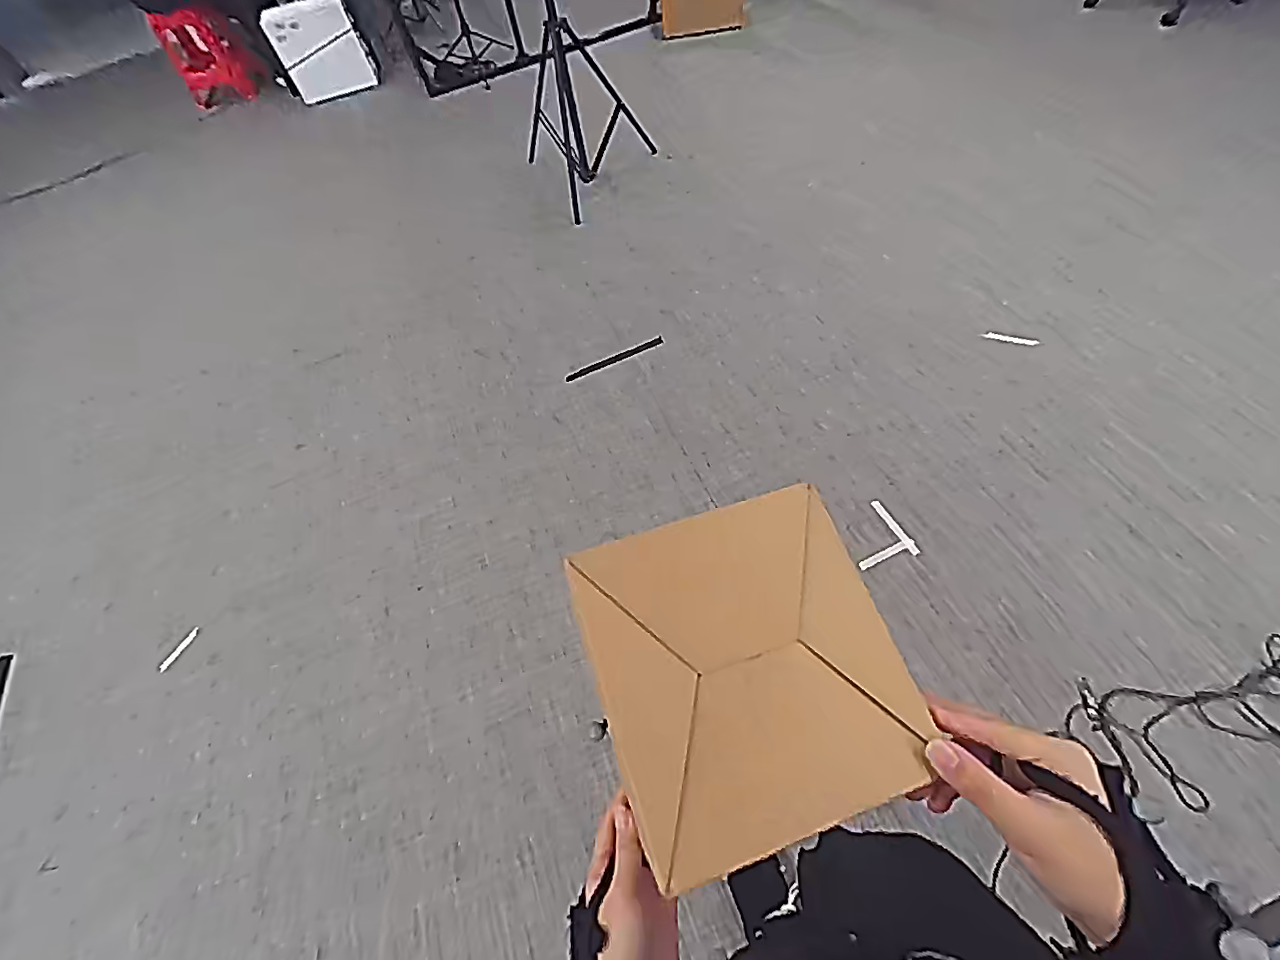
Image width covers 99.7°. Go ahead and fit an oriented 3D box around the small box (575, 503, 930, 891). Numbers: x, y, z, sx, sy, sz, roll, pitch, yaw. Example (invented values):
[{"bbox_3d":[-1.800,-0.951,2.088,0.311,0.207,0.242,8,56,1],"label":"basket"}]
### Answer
[{"bbox_3d":[0.057,0.136,0.374,0.168,0.176,0.179,-16,67,-12],"label":"small box"}]
